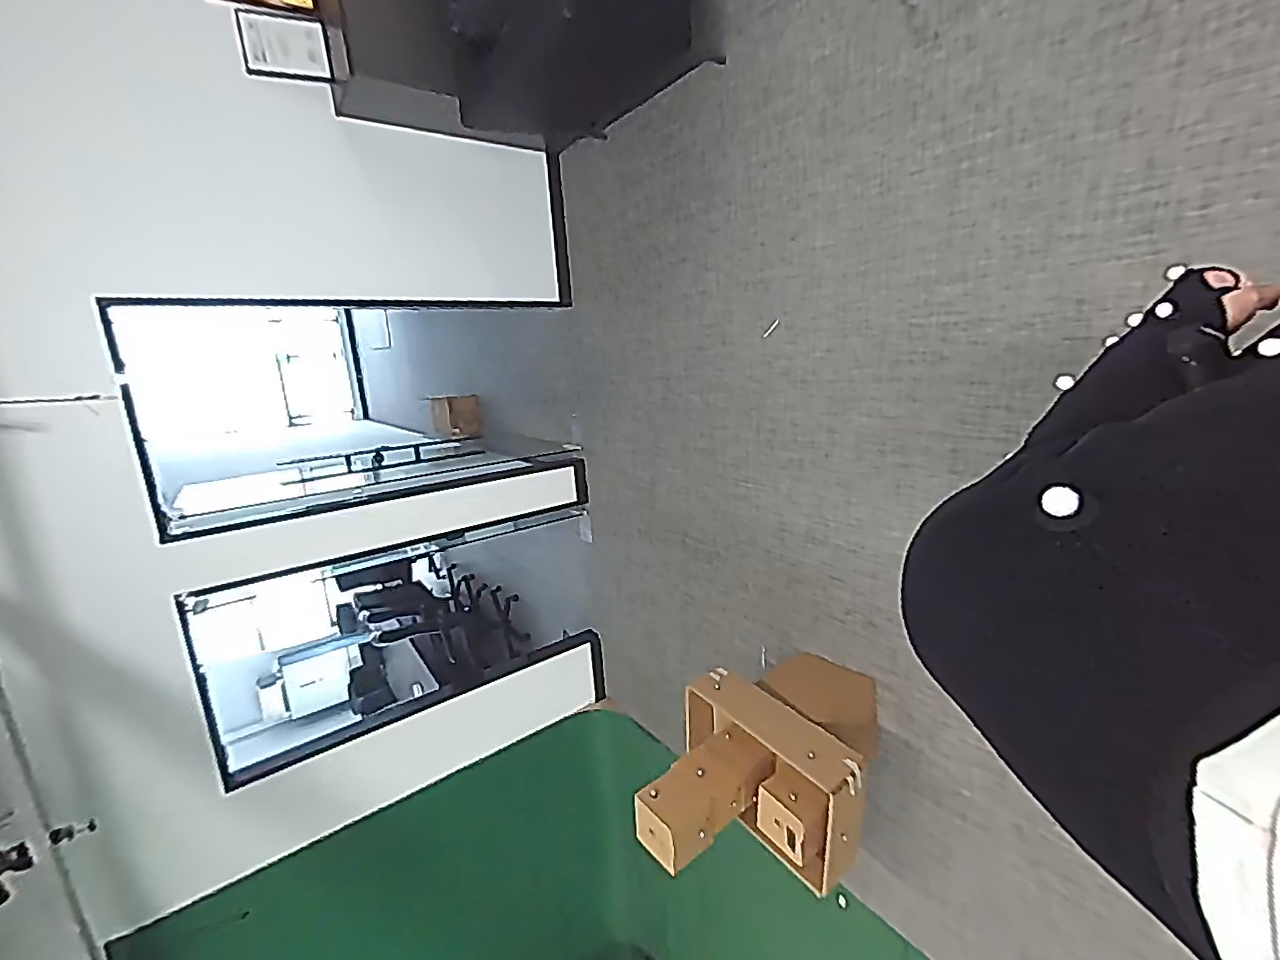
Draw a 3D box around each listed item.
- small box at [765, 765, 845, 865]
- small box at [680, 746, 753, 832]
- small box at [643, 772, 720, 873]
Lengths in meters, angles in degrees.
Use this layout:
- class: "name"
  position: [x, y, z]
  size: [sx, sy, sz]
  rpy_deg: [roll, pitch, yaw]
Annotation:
- class: "small box"
  position: [0.513, 1.032, 1.684]
  size: [0.179, 0.176, 0.168]
  rpy_deg: [21, 116, 53]
- class: "small box"
  position: [0.248, 1.010, 1.777]
  size: [0.179, 0.176, 0.168]
  rpy_deg: [17, 113, 49]
- class: "small box"
  position: [0.127, 1.042, 1.669]
  size: [0.179, 0.176, 0.168]
  rpy_deg: [14, 112, 50]
